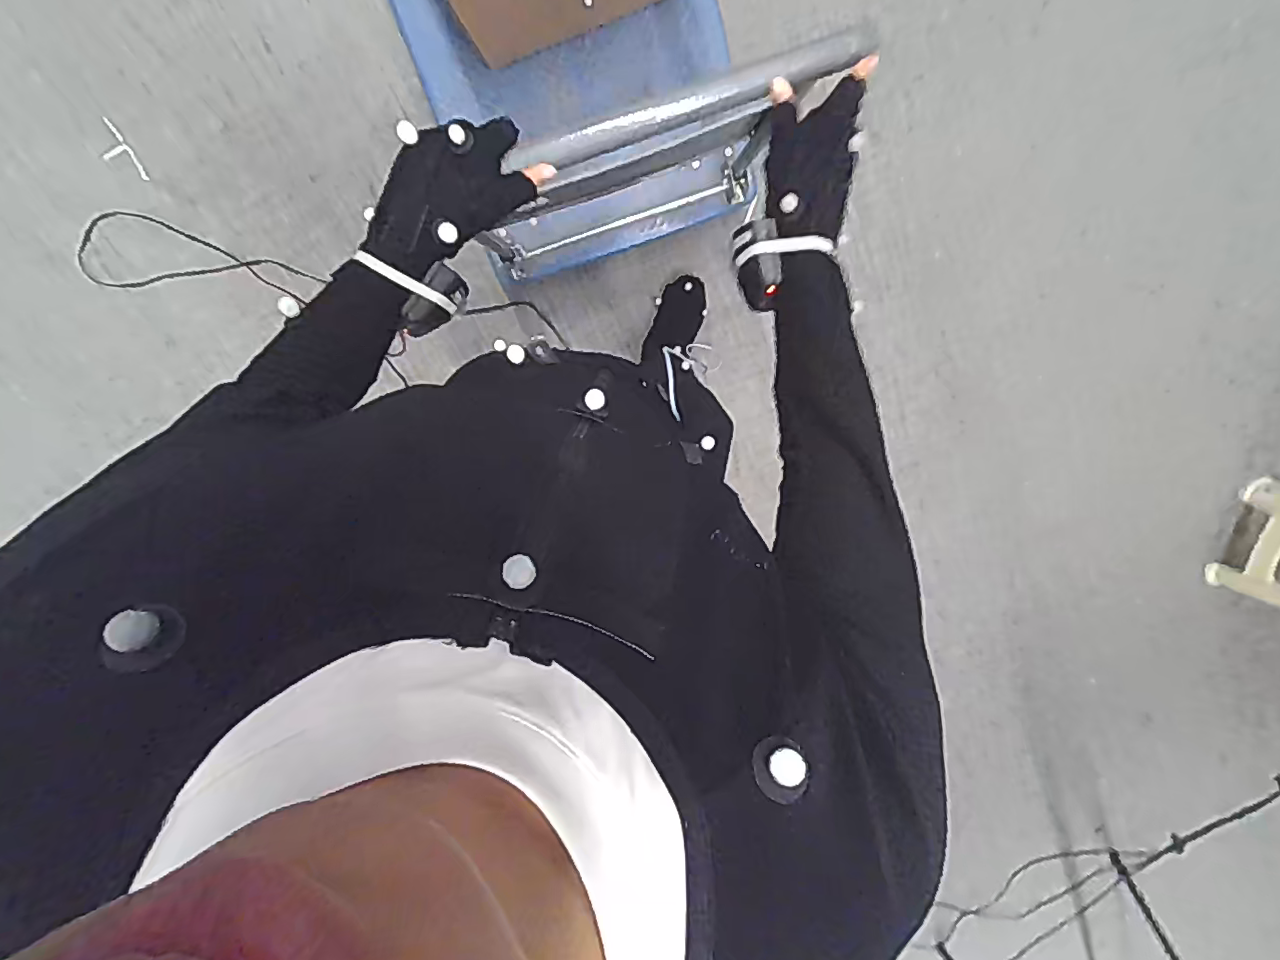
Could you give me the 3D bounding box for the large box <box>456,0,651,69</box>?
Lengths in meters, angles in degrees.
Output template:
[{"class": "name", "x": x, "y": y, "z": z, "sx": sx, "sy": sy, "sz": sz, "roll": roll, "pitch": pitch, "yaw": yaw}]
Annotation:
[{"class": "large box", "x": -0.133, "y": -0.929, "z": 0.828, "sx": 0.408, "sy": 0.320, "sz": 0.320, "roll": -20, "pitch": 110, "yaw": 6}]
